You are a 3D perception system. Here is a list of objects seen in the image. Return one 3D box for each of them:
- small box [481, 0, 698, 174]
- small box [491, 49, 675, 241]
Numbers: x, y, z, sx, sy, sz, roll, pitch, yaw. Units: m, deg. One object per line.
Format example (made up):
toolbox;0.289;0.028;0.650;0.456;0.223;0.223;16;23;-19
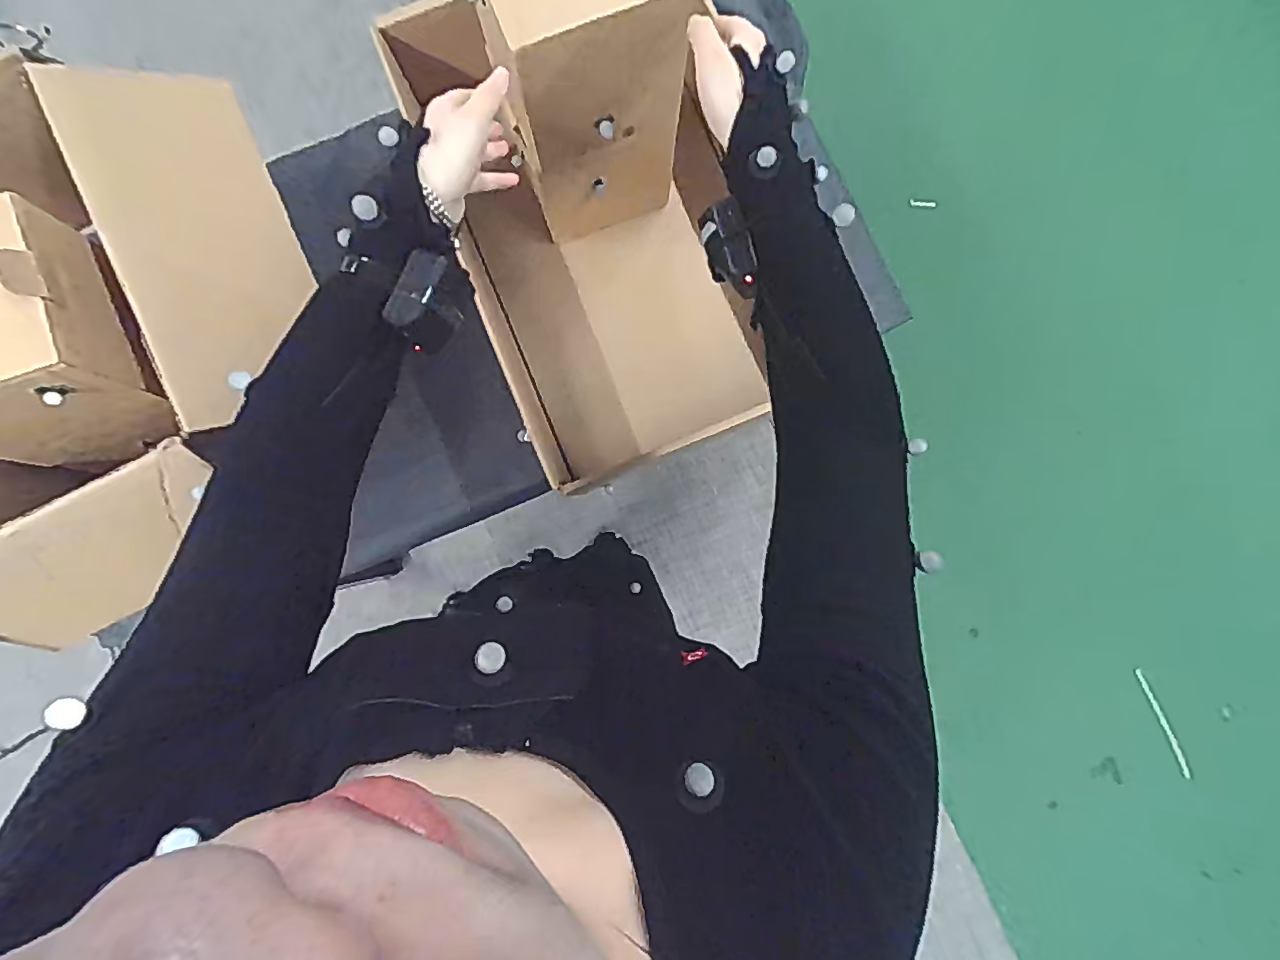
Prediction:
small box;-0.059;-0.449;0.528;0.168;0.176;0.179;-21;88;-2
small box;-0.063;-0.441;0.693;0.179;0.176;0.168;-21;87;-1
